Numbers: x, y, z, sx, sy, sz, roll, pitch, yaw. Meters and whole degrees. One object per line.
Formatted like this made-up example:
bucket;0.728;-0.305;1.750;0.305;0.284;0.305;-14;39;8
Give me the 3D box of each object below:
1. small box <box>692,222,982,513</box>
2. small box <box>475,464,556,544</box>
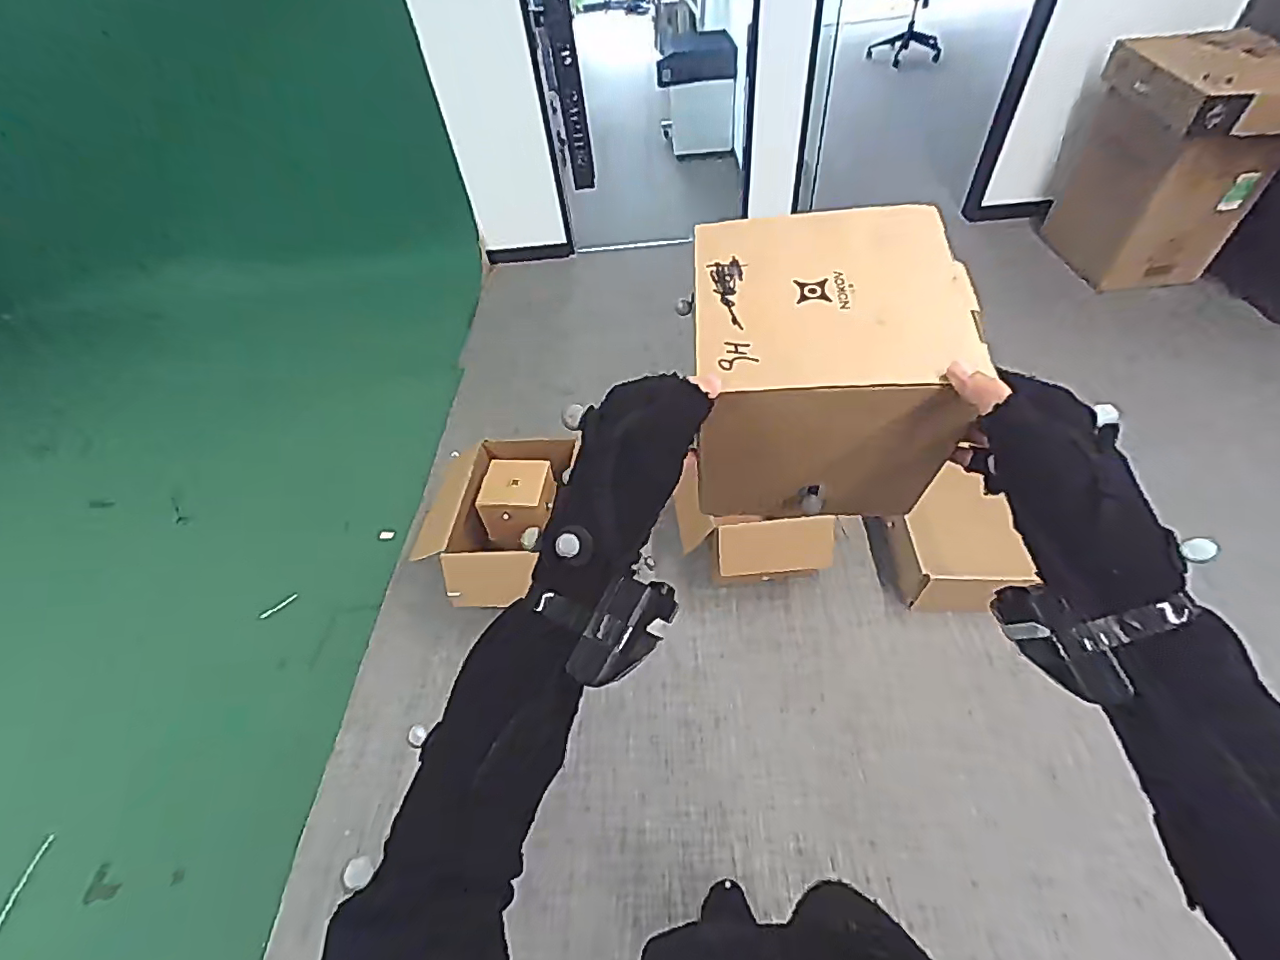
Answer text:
small box;0.132;-0.083;0.442;0.179;0.176;0.168;0;58;6
small box;-0.349;0.071;1.560;0.179;0.176;0.168;1;49;6
